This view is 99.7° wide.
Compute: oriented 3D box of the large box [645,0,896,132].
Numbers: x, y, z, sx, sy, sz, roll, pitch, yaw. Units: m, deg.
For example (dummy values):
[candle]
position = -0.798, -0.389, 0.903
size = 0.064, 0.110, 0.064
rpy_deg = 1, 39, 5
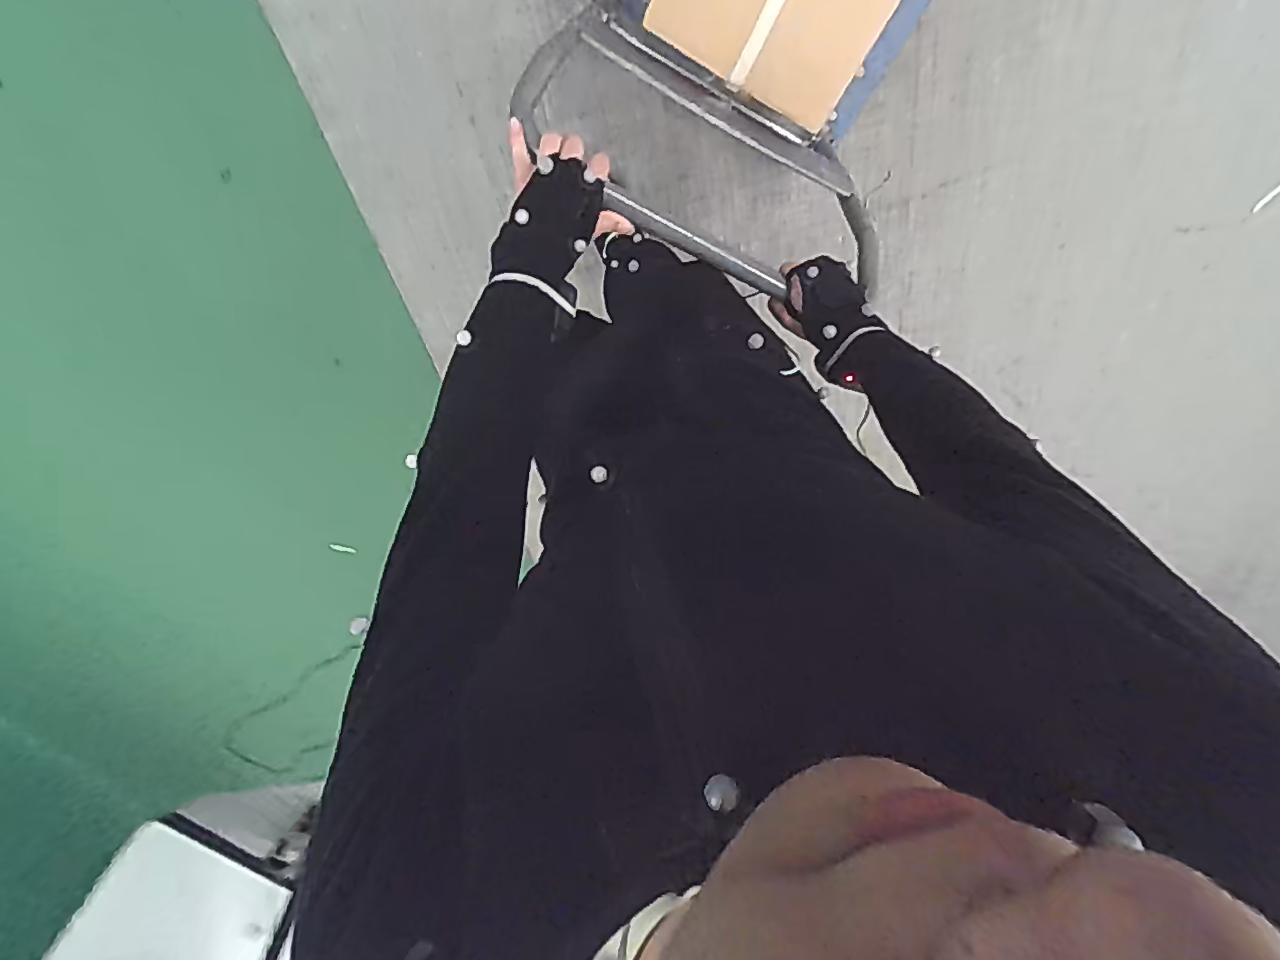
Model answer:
[large box]
position = 0.235, -0.827, 0.805
size = 0.320, 0.320, 0.408
rpy_deg = 22, 131, -14
